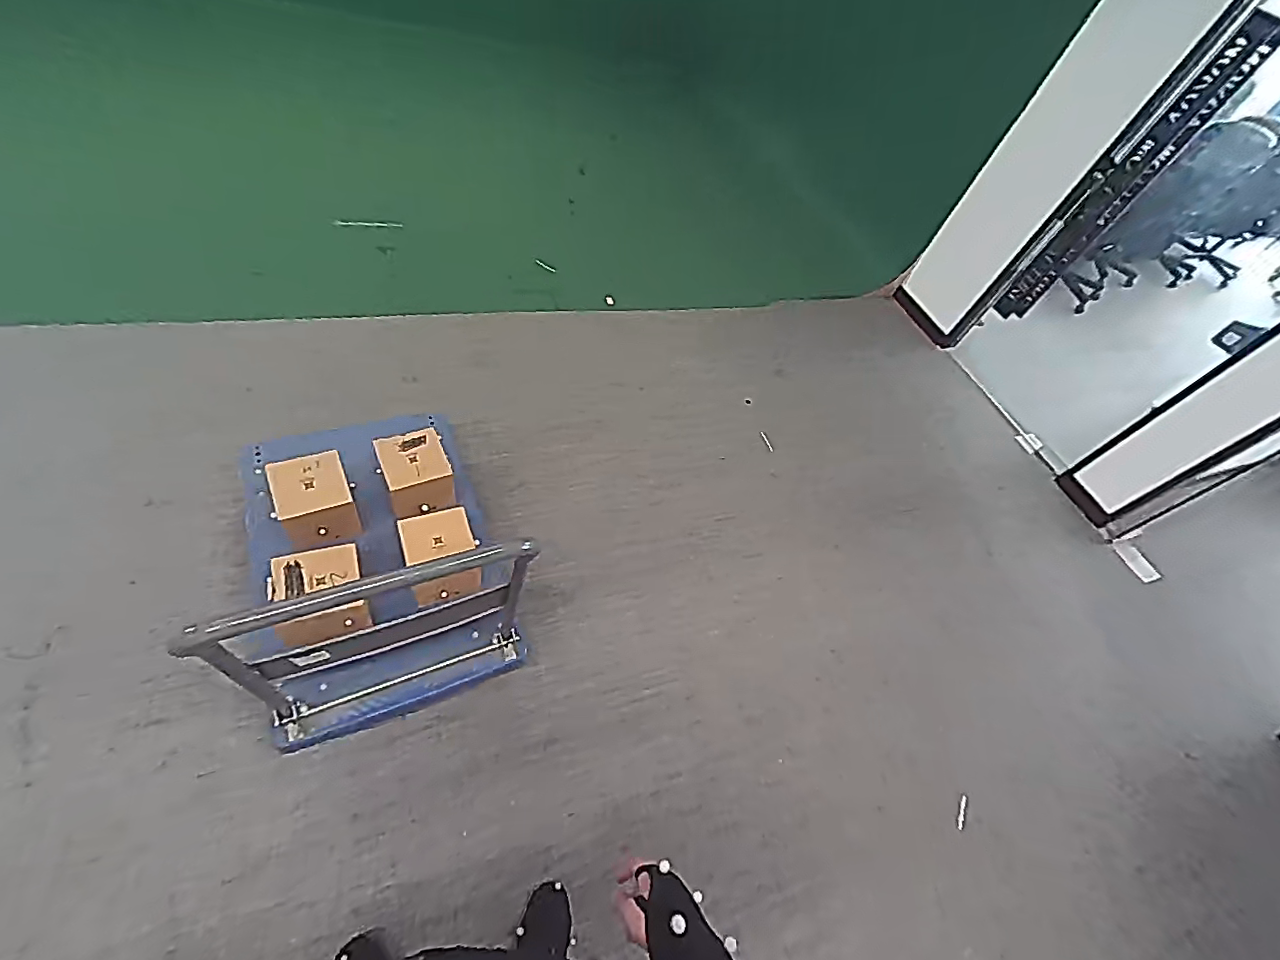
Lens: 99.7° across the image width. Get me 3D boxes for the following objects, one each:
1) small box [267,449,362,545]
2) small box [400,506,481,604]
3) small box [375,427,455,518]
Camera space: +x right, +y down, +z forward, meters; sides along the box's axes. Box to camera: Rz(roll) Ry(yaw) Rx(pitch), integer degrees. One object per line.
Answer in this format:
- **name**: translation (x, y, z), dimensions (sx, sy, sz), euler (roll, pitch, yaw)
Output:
- **small box**: translation (-0.845, 0.051, 1.415), dimensions (0.168, 0.176, 0.179), euler (-17, 62, -27)
- **small box**: translation (-0.520, 0.197, 1.410), dimensions (0.168, 0.176, 0.179), euler (-13, 61, -25)
- **small box**: translation (-0.631, -0.019, 1.528), dimensions (0.168, 0.176, 0.179), euler (-18, 64, -26)
